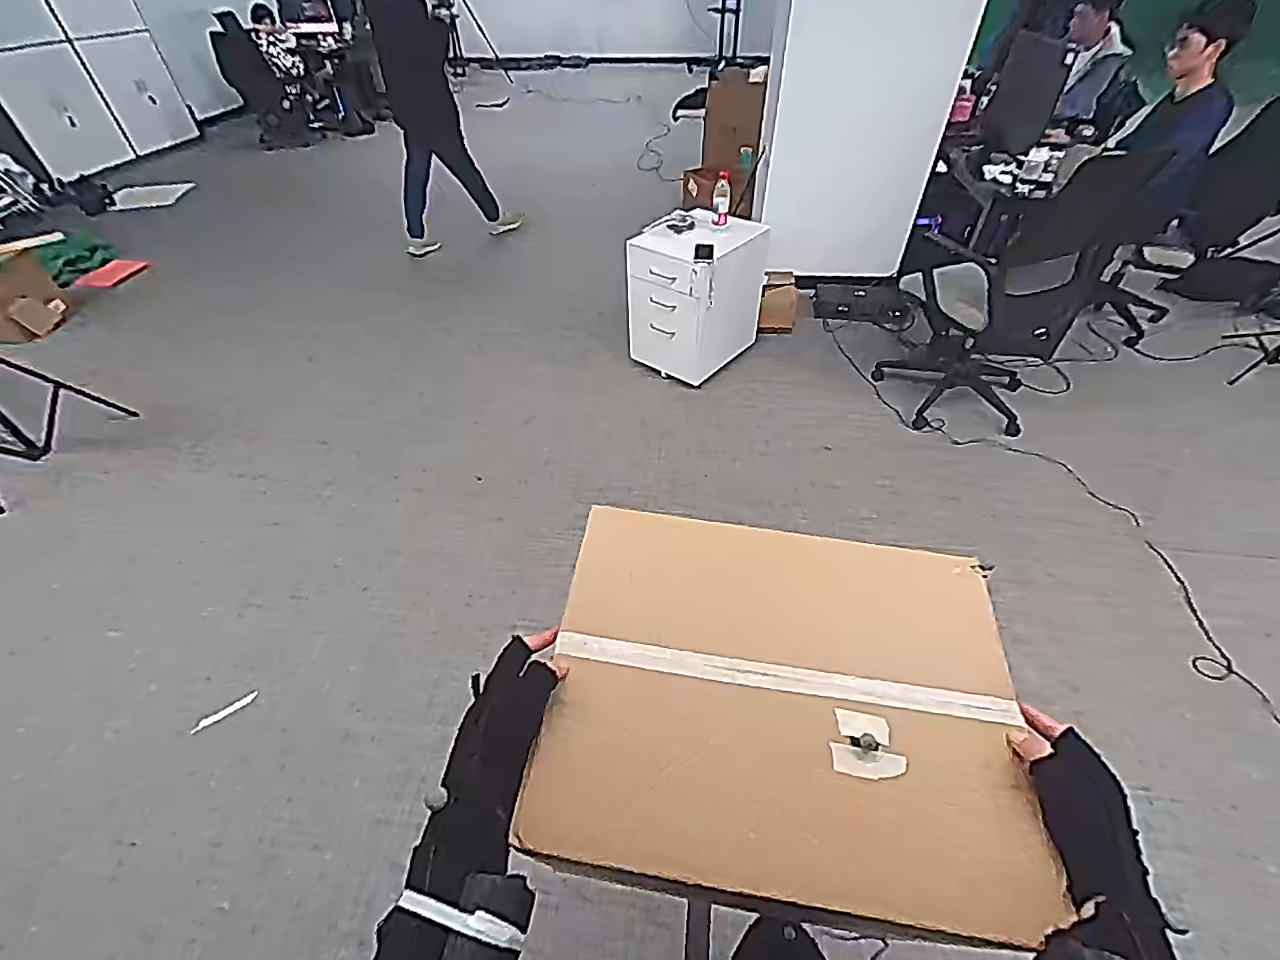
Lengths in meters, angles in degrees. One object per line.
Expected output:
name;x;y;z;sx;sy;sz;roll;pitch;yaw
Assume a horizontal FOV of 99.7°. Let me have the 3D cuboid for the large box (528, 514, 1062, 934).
large box;0.124;0.271;0.606;0.408;0.320;0.320;8;53;4
